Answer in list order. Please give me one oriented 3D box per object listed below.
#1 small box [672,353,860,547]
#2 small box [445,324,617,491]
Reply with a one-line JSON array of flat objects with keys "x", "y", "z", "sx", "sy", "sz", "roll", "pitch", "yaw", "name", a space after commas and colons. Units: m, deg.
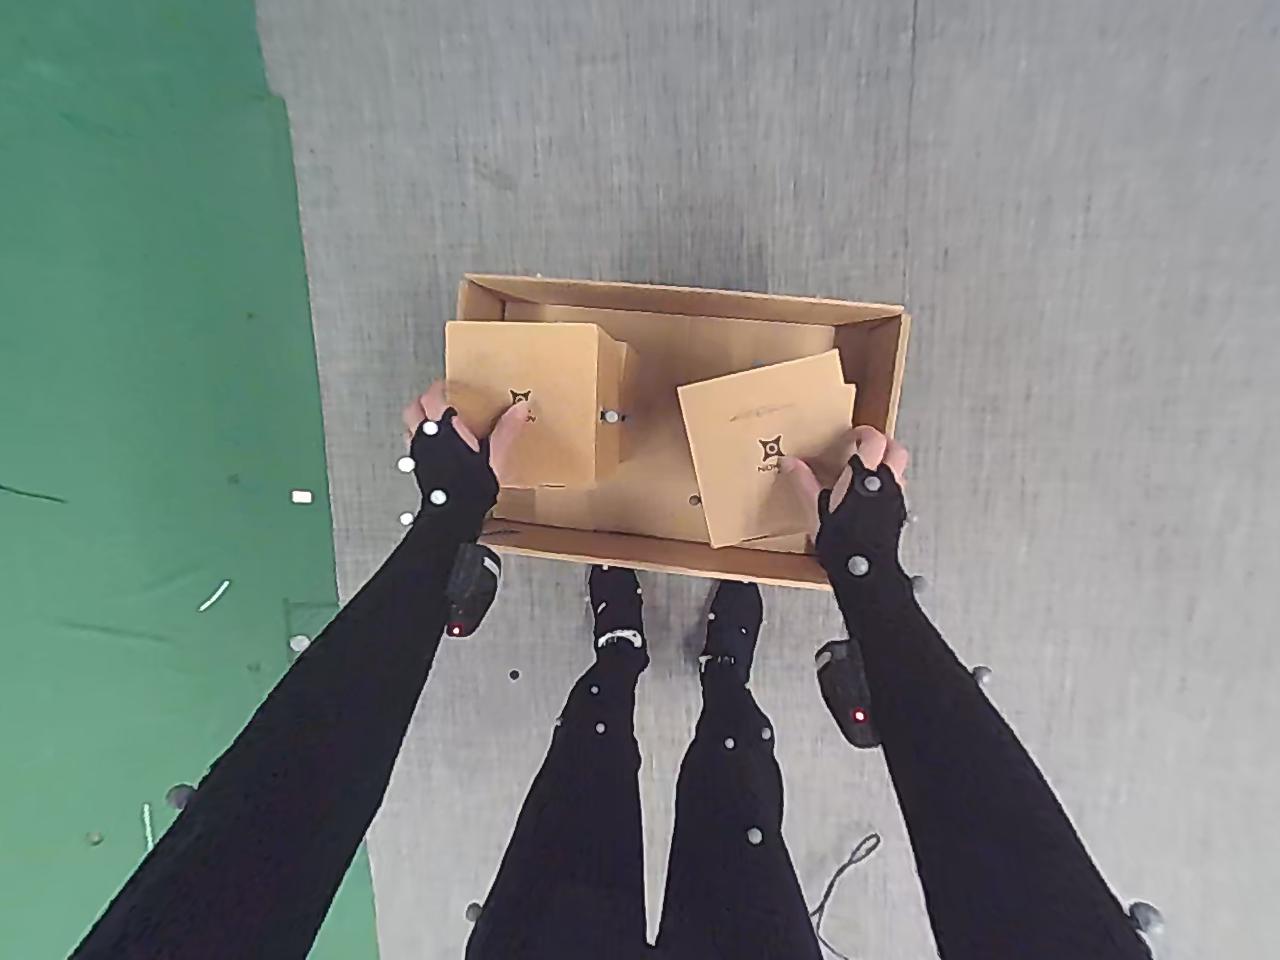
[{"x": 0.139, "y": -0.037, "z": 0.635, "sx": 0.168, "sy": 0.176, "sz": 0.179, "roll": -12, "pitch": 94, "yaw": 7, "name": "small box"}, {"x": -0.123, "y": -0.085, "z": 0.661, "sx": 0.168, "sy": 0.176, "sz": 0.179, "roll": 2, "pitch": 96, "yaw": 6, "name": "small box"}]
